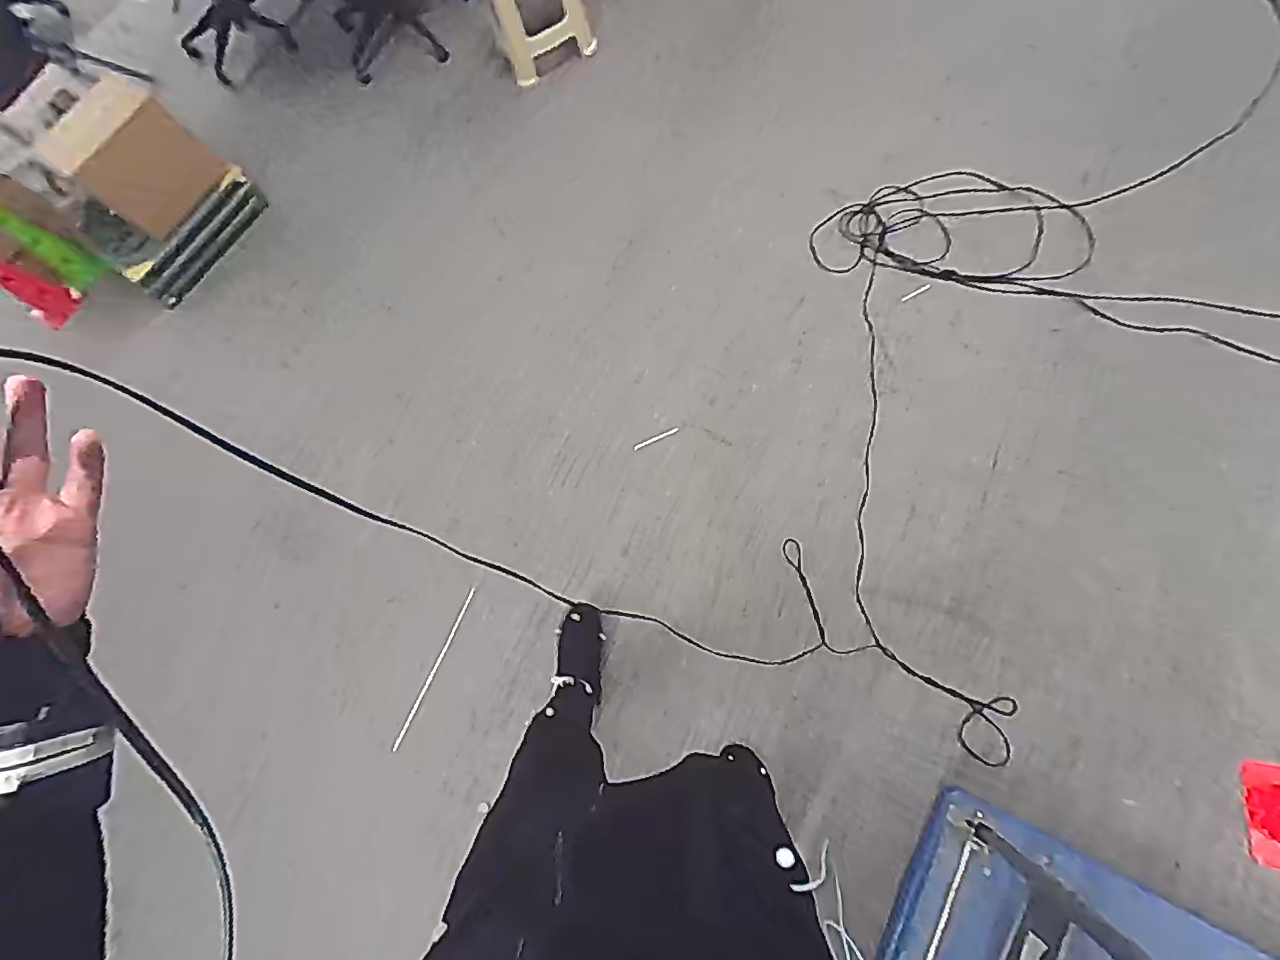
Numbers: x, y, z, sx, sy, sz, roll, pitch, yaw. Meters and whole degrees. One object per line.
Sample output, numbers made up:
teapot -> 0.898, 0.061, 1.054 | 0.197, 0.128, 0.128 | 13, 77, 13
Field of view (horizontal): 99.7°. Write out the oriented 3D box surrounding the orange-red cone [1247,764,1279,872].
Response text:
orange-red cone -> 1.325, 0.645, 0.932 | 0.198, 0.360, 0.199 | 7, 73, 12
